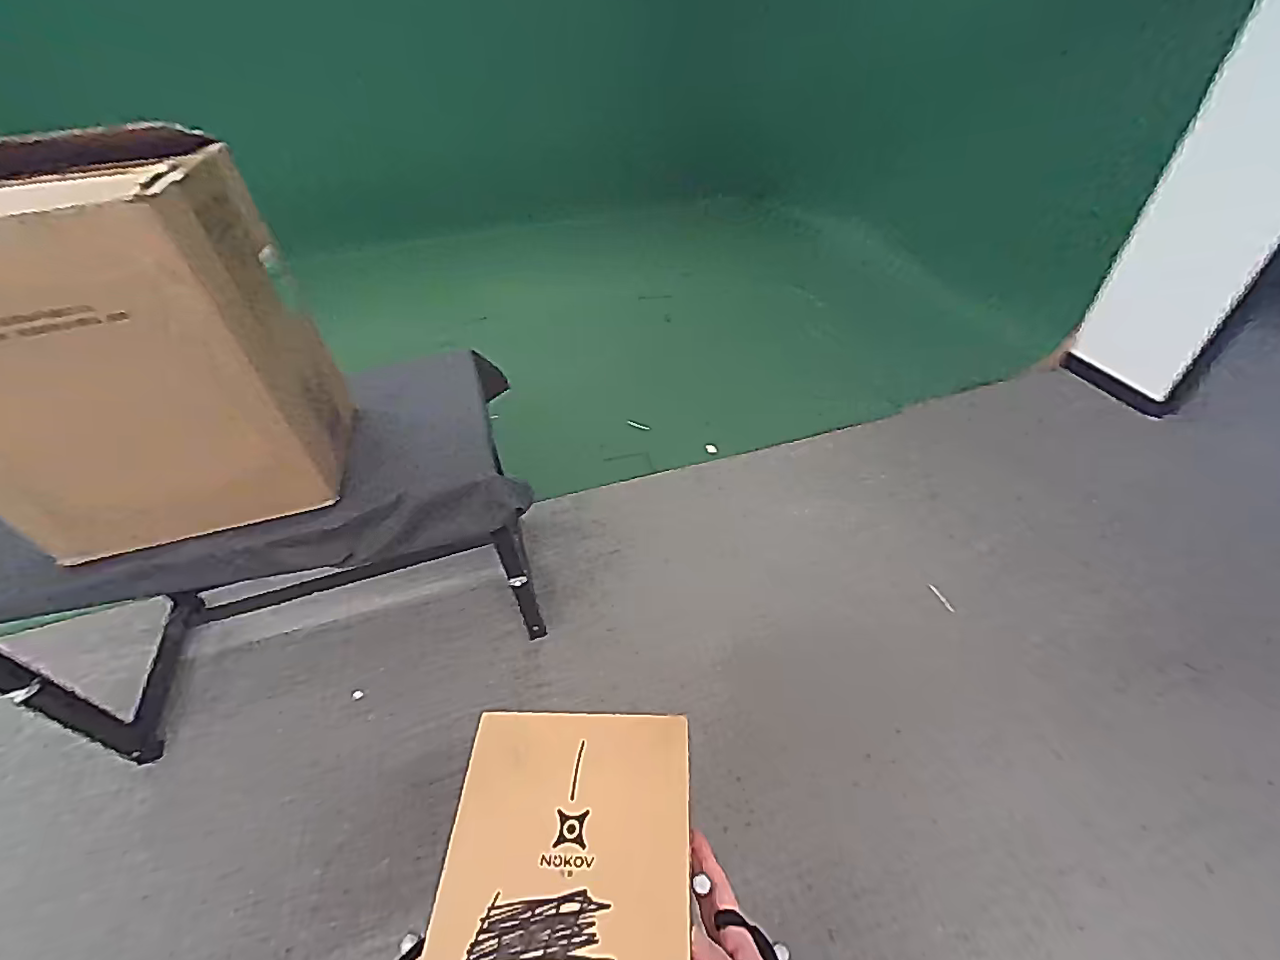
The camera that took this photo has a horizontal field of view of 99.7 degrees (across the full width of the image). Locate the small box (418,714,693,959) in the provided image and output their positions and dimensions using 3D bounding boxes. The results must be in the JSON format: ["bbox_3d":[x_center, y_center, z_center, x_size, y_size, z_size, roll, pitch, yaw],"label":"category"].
[{"bbox_3d":[-0.044,0.303,0.422,0.168,0.176,0.179,-2,45,5],"label":"small box"}]
